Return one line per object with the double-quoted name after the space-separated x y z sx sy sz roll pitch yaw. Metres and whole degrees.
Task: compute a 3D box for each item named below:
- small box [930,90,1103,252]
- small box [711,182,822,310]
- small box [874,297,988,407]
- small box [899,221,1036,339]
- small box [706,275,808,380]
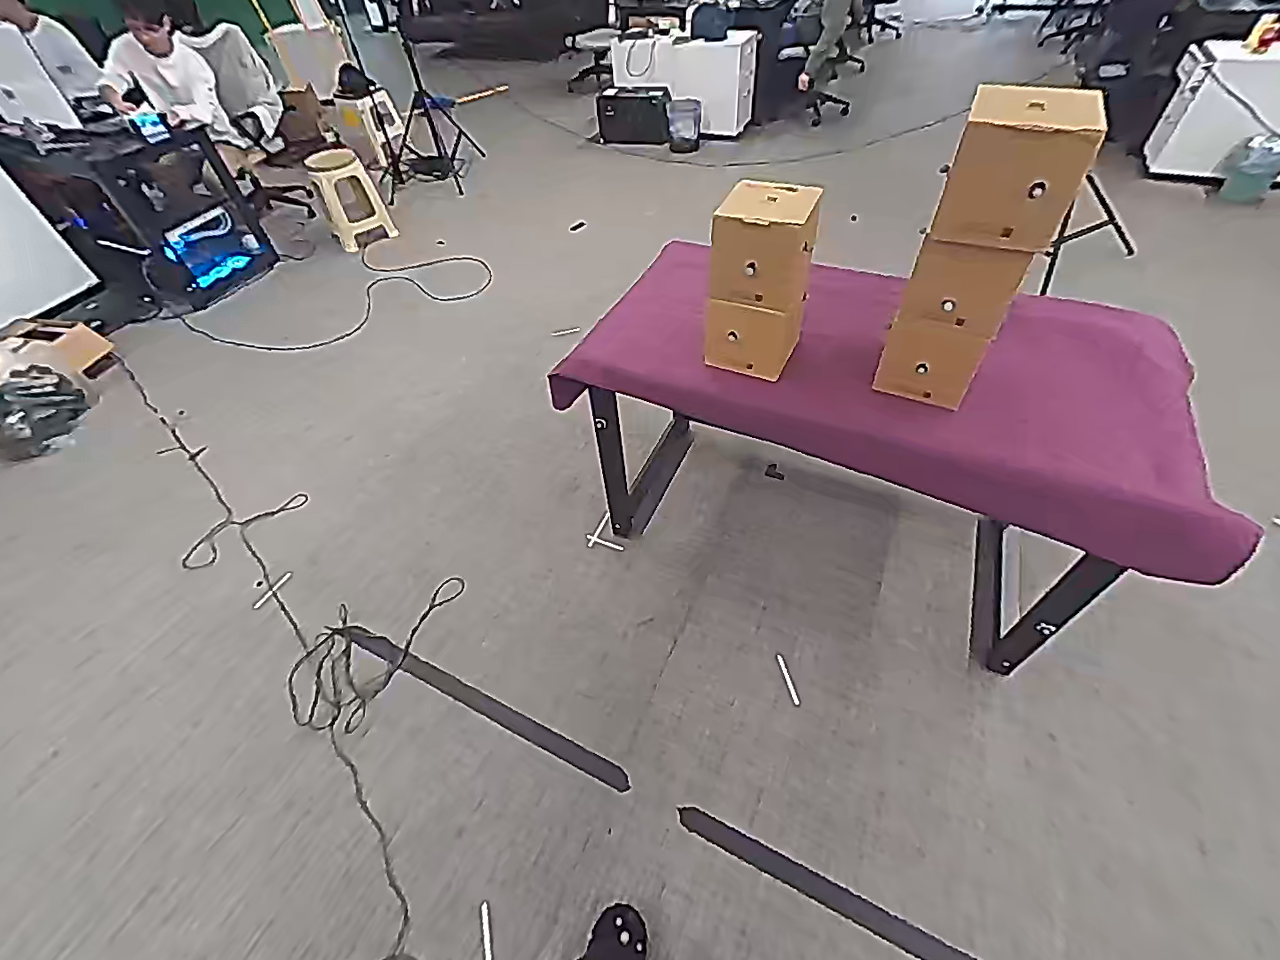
0.565 -0.473 0.830 0.168 0.176 0.179 18 52 18 "small box"
0.242 -0.456 1.058 0.168 0.176 0.179 17 52 18 "small box"
0.588 -0.273 1.087 0.168 0.176 0.179 21 53 20 "small box"
0.583 -0.382 0.965 0.168 0.176 0.179 20 54 21 "small box"
0.251 -0.342 1.176 0.168 0.176 0.179 19 52 19 "small box"
